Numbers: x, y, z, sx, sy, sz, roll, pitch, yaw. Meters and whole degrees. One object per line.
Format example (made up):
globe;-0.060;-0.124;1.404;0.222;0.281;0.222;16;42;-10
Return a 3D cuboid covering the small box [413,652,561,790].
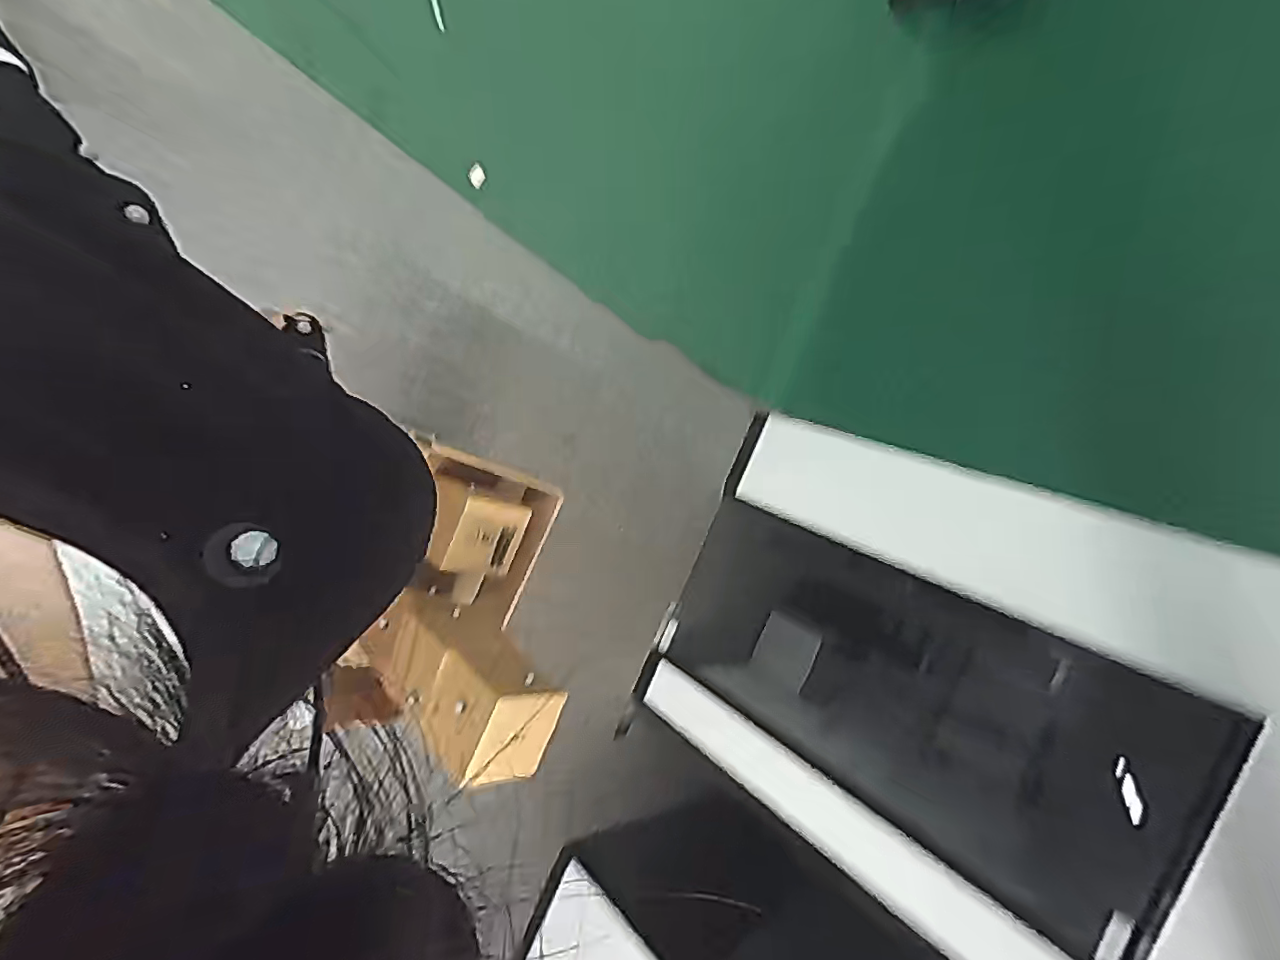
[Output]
small box;-0.287;0.435;1.006;0.179;0.176;0.168;25;88;-52

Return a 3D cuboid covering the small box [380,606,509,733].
small box;-0.404;0.376;1.102;0.168;0.176;0.179;12;98;-52
